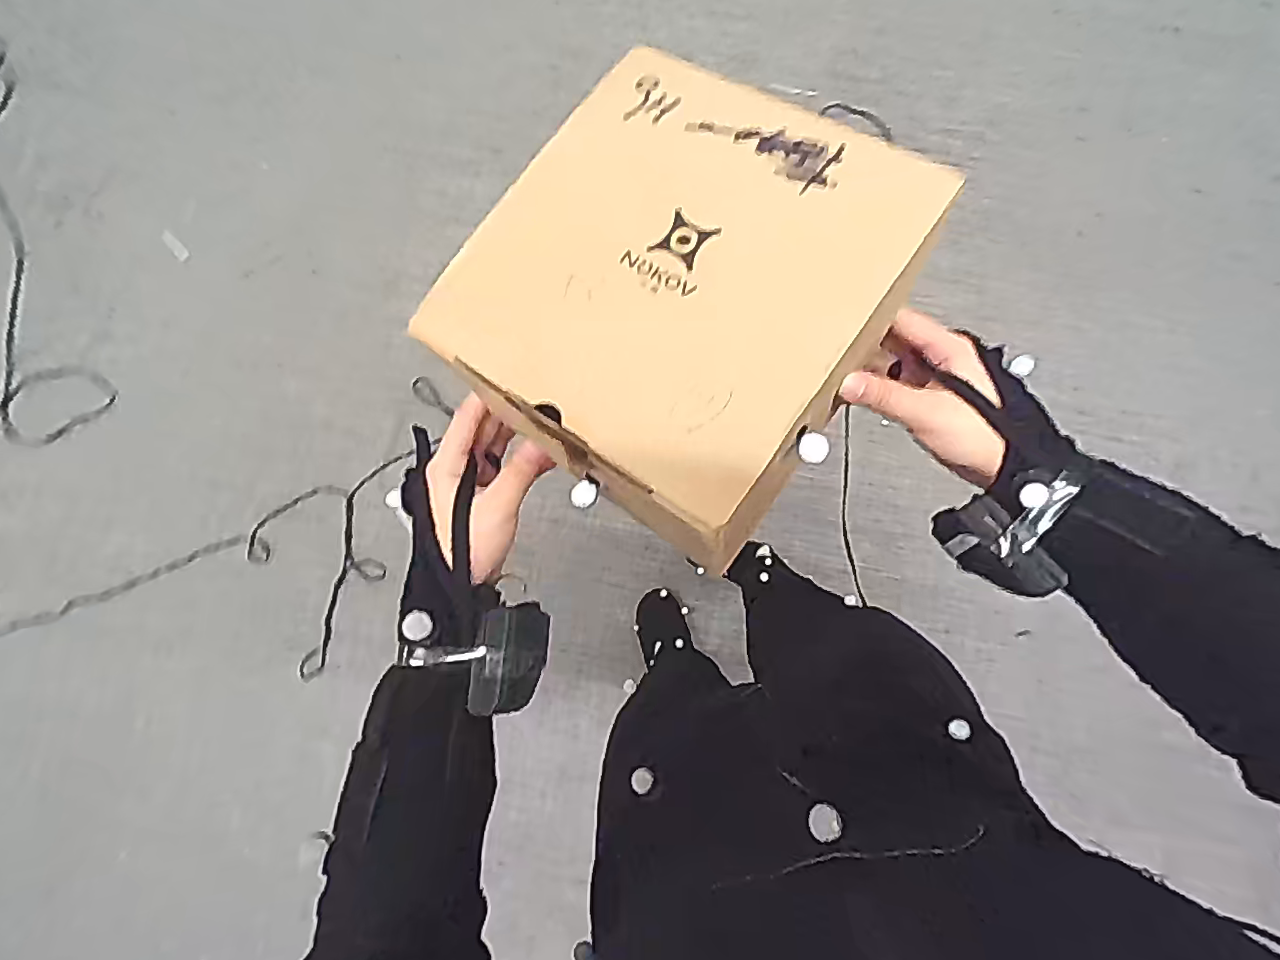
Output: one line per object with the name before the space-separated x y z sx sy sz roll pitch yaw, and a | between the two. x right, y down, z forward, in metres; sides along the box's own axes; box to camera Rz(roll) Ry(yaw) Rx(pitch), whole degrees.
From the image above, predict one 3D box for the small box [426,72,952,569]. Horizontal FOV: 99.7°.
small box | 0.028 -0.066 0.308 0.168 0.176 0.179 35 84 16
